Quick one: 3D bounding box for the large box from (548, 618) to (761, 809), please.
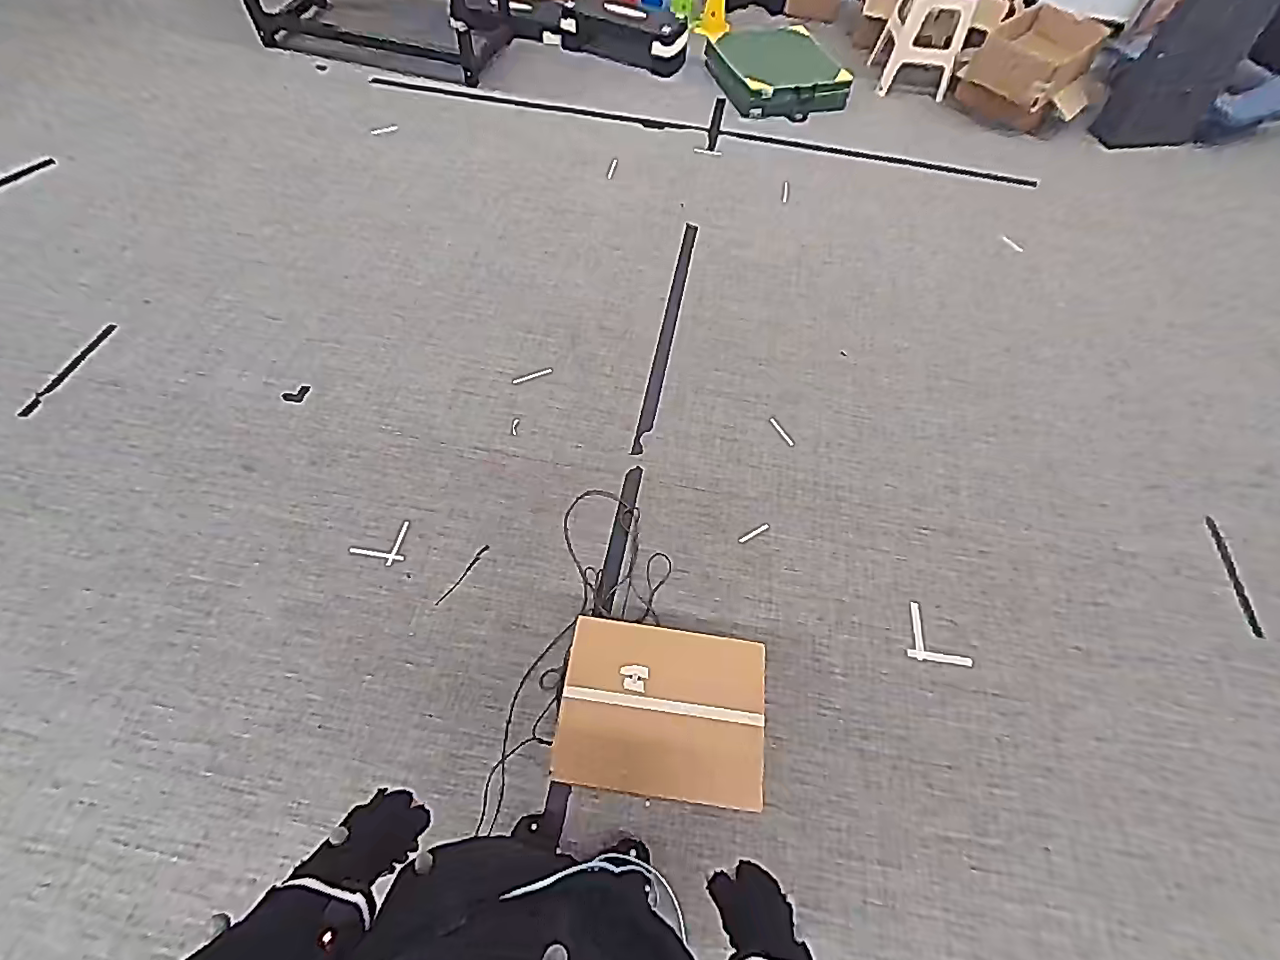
[{"bbox_3d":[0.037,0.527,1.205,0.408,0.320,0.320,9,58,2],"label":"large box"}]
